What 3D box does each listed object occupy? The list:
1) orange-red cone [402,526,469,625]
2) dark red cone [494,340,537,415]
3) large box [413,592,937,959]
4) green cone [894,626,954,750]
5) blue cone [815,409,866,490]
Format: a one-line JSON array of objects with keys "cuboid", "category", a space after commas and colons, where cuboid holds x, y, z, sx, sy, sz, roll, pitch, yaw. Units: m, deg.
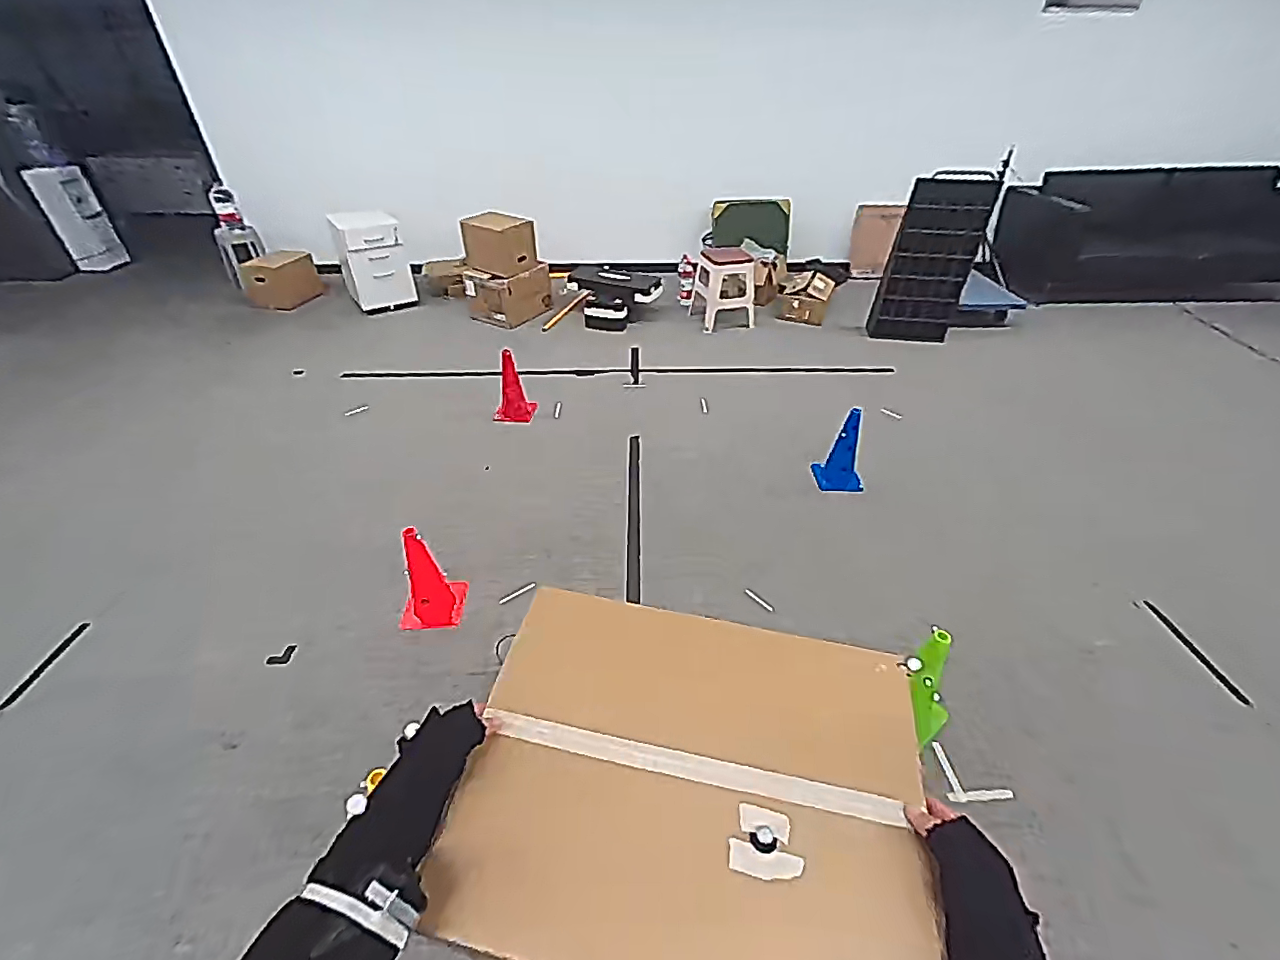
[{"cuboid": [-0.713, 0.291, 1.783, 0.198, 0.360, 0.199, -2, 40, -2], "category": "orange-red cone"}, {"cuboid": [-0.658, -0.529, 2.790, 0.201, 0.394, 0.202, 4, 38, 3], "category": "dark red cone"}, {"cuboid": [0.041, 0.367, 0.598, 0.408, 0.320, 0.320, 9, 45, 8], "category": "large box"}, {"cuboid": [0.777, 0.535, 1.488, 0.202, 0.368, 0.200, -25, 45, -31], "category": "green cone"}, {"cuboid": [0.916, -0.144, 2.383, 0.192, 0.380, 0.193, 3, 38, 1], "category": "blue cone"}]
